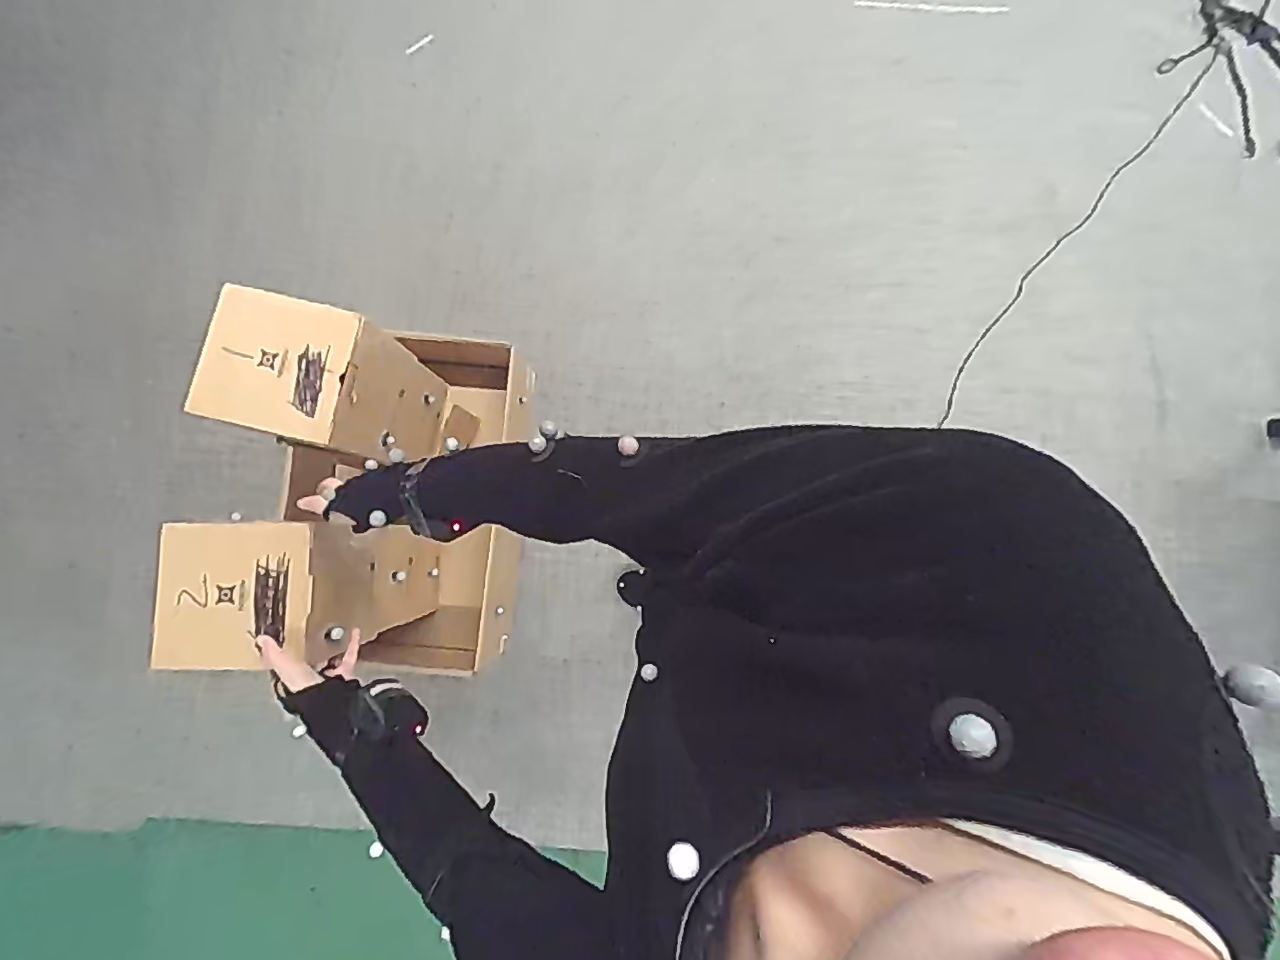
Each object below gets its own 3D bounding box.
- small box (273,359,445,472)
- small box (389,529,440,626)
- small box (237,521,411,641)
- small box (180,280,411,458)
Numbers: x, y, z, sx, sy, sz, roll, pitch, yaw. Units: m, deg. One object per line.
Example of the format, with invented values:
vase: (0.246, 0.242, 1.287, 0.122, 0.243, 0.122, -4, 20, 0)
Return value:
small box: (-0.437, -0.112, 0.872, 0.179, 0.176, 0.168, 11, 84, 0)
small box: (-0.495, 0.173, 1.008, 0.179, 0.176, 0.168, 2, 85, -1)
small box: (-0.477, 0.150, 0.846, 0.179, 0.176, 0.168, 2, 84, -1)
small box: (-0.431, -0.131, 0.710, 0.179, 0.176, 0.168, 14, 84, 1)
